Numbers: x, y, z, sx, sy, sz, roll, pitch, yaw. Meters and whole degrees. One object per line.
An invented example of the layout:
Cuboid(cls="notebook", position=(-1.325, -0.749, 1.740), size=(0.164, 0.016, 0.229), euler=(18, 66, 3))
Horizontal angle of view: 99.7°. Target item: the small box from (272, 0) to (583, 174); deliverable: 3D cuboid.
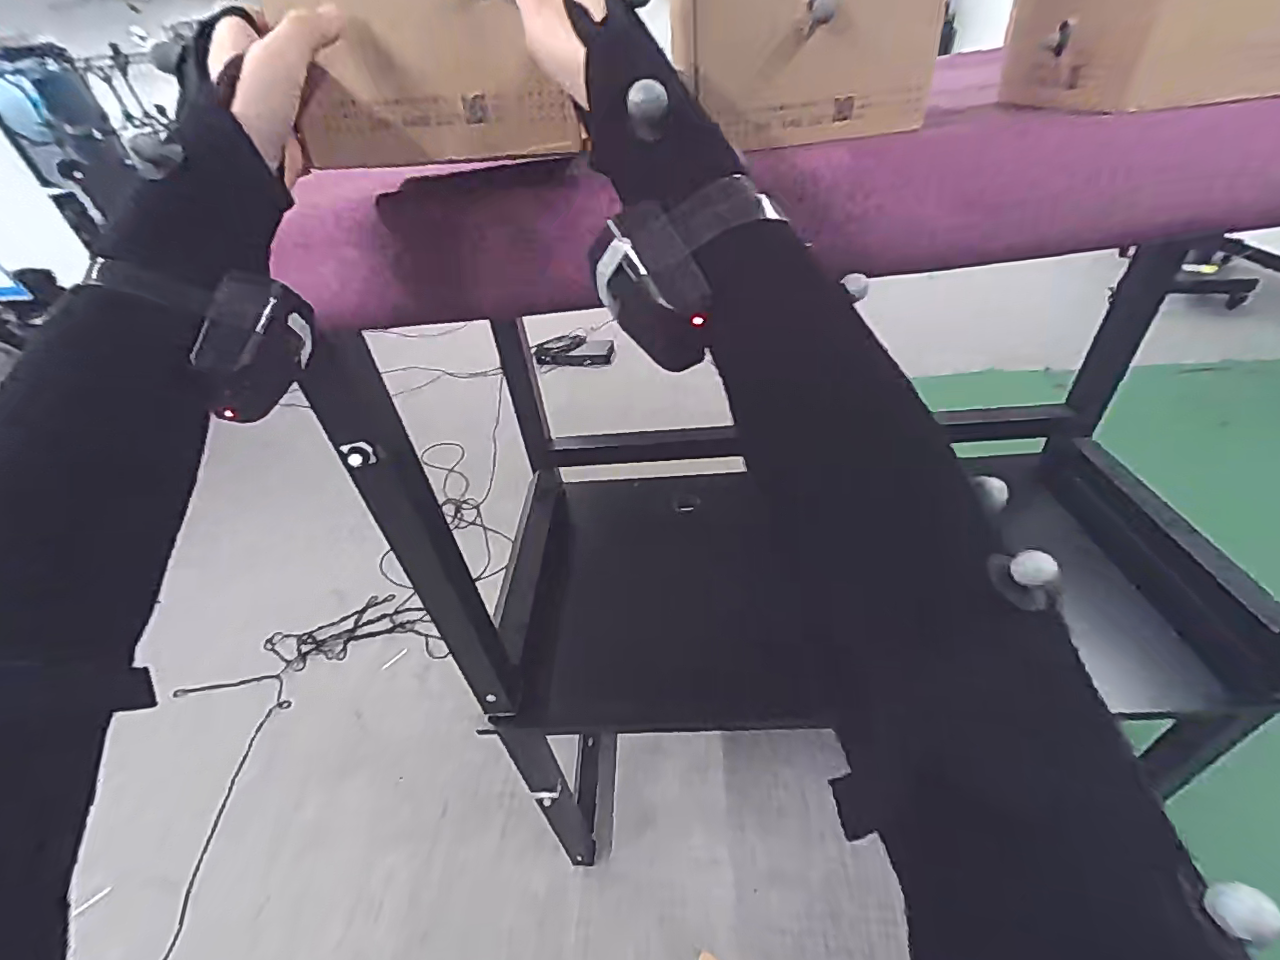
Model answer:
Cuboid(cls="small box", position=(-0.128, -0.310, 0.365), size=(0.168, 0.176, 0.179), euler=(-4, 30, -4))

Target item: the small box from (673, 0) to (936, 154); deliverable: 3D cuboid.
Cuboid(cls="small box", position=(0.114, -0.359, 0.413), size=(0.168, 0.176, 0.179), euler=(-5, 38, 2))
